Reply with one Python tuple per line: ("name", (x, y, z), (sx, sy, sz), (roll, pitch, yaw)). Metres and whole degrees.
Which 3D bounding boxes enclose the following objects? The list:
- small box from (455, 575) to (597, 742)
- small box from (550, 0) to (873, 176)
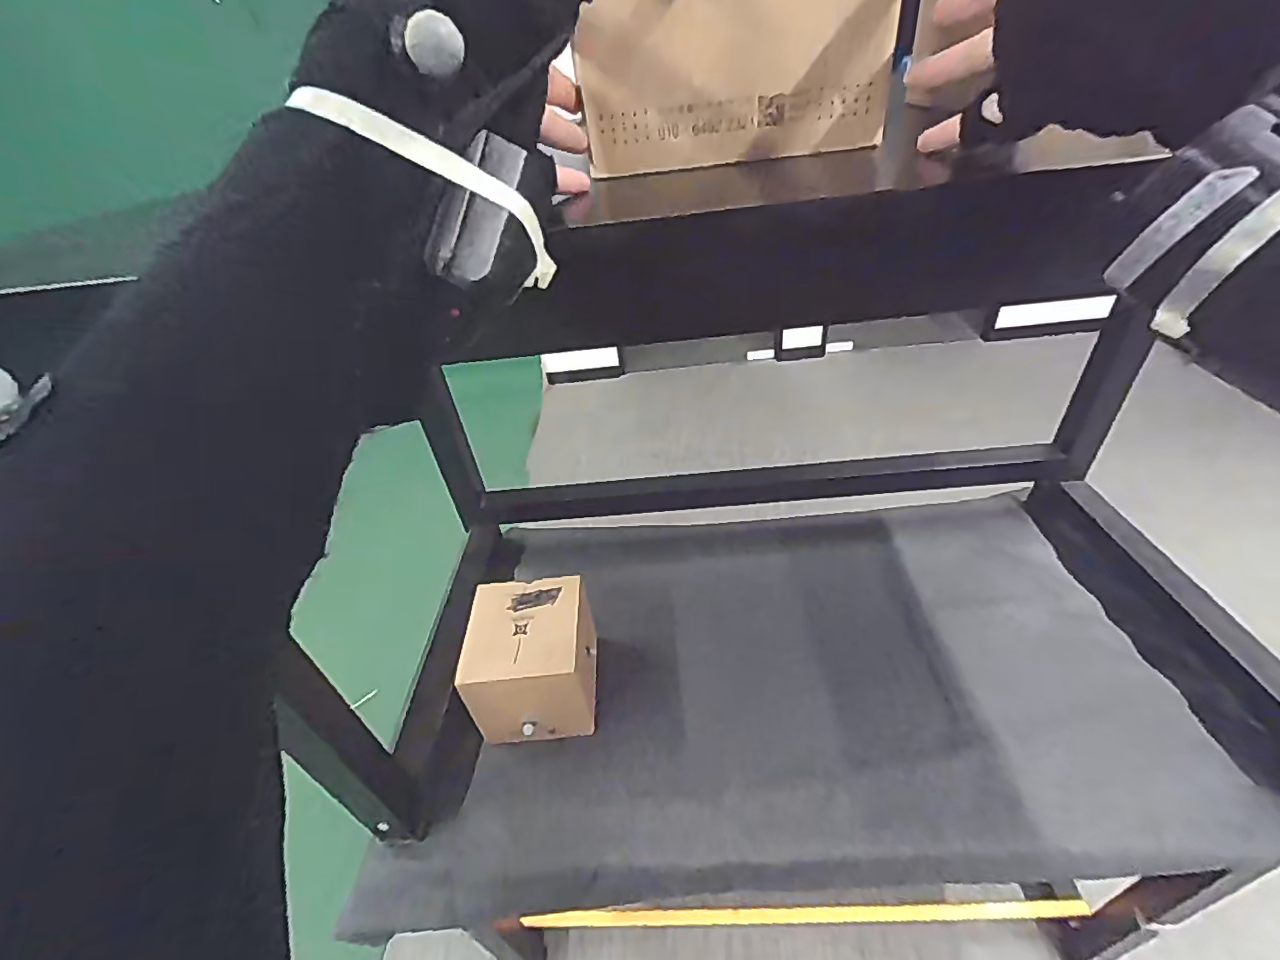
("small box", (-0.162, 0.272, 0.832), (0.168, 0.176, 0.179), (-7, 38, 2))
("small box", (0.040, -0.295, 0.329), (0.168, 0.176, 0.179), (-3, 37, 7))
